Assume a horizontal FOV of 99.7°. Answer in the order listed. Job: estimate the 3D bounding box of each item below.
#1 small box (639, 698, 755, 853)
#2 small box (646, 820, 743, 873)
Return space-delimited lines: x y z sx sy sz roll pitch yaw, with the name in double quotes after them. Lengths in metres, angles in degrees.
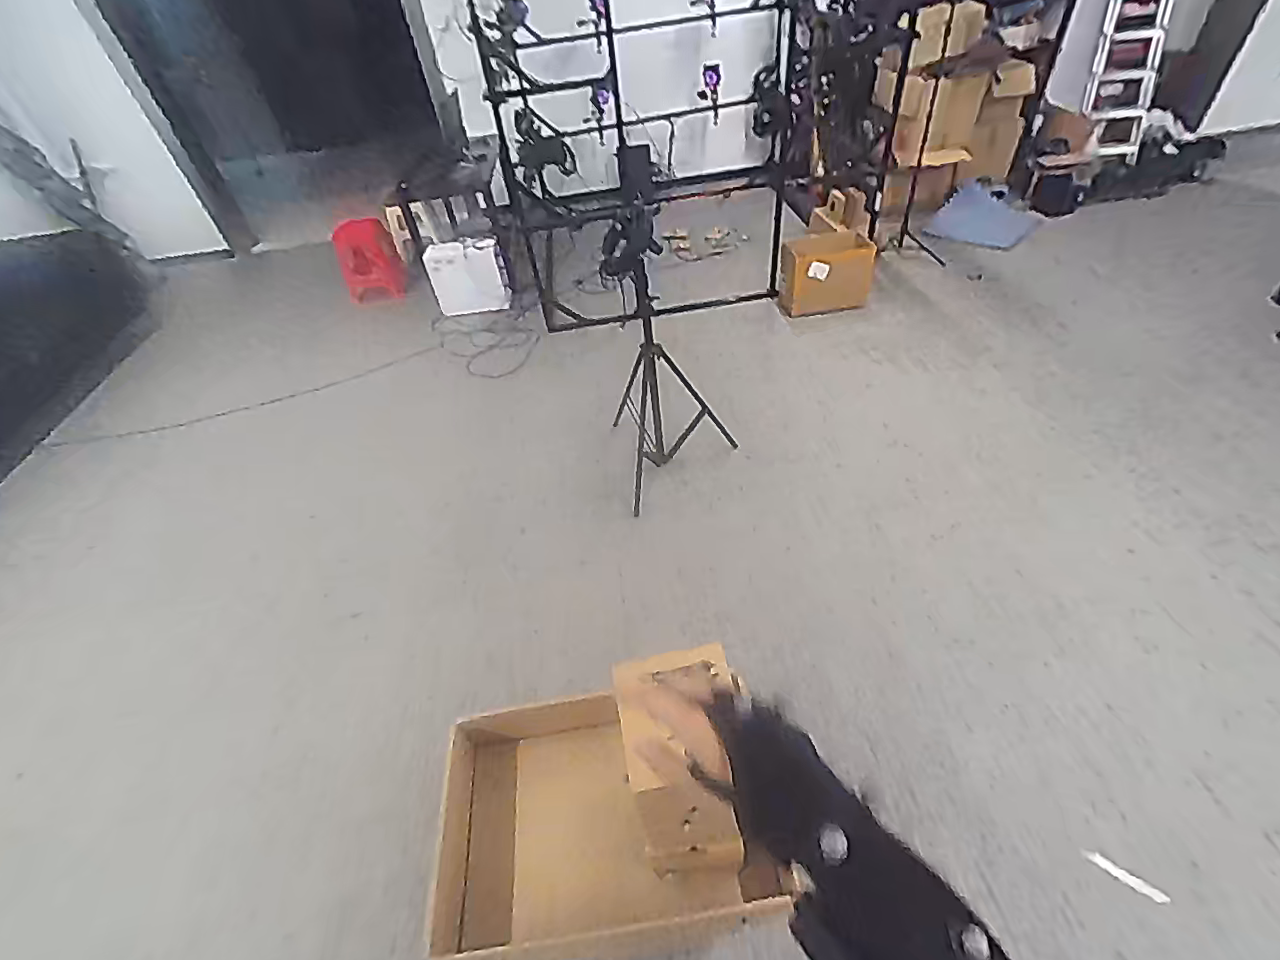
0.090 0.492 0.902 0.168 0.176 0.179 -7 43 1 "small box"
0.099 0.616 1.008 0.168 0.176 0.179 -4 43 3 "small box"
